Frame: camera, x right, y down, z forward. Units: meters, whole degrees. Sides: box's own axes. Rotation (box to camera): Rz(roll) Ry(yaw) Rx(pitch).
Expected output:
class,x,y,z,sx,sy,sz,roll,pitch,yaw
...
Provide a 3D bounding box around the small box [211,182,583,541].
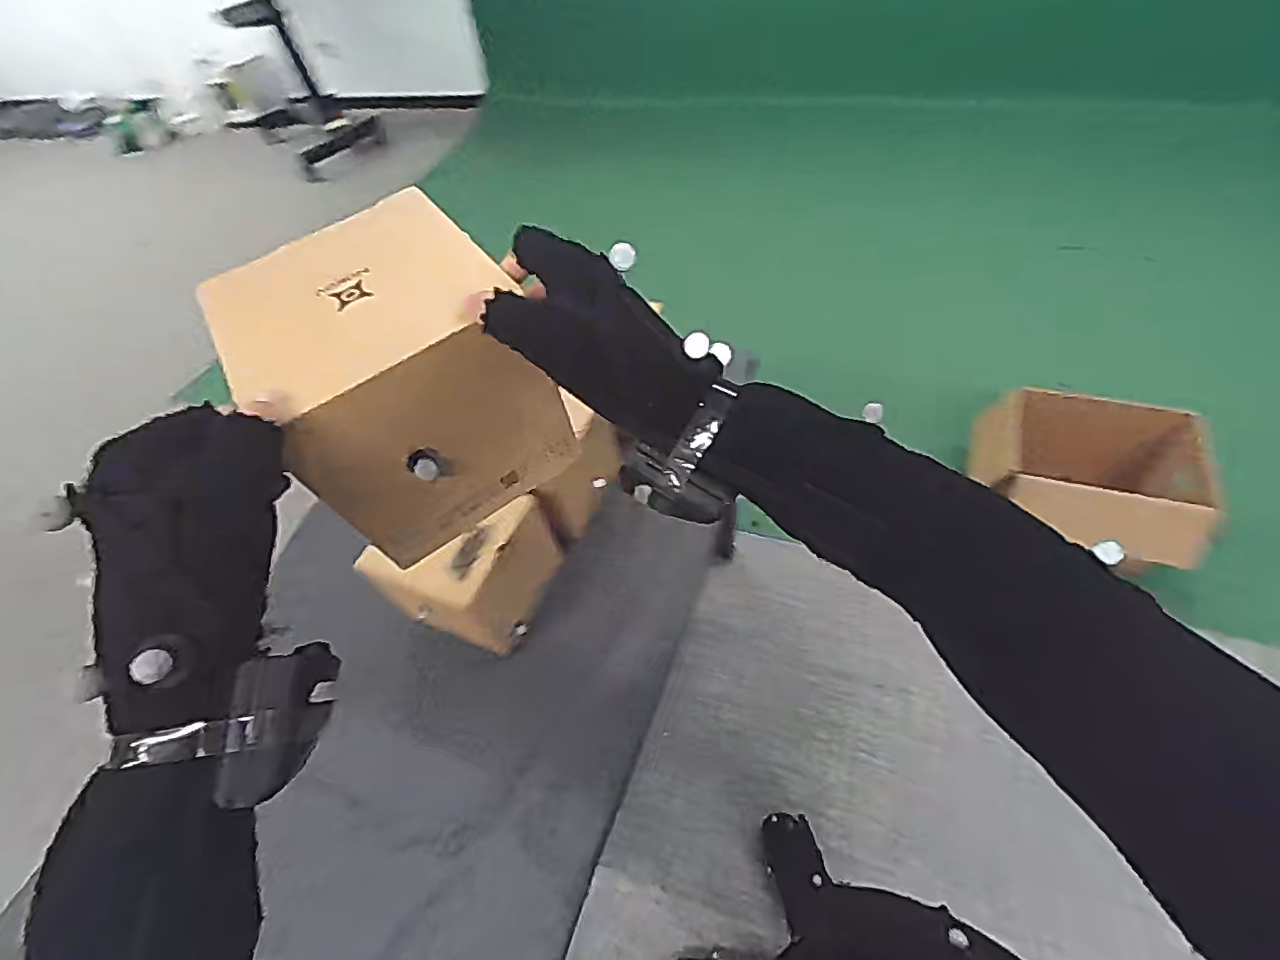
class,x,y,z,sx,sy,sz,roll,pitch,yaw
small box,-0.163,-0.077,0.403,0.168,0.176,0.179,-33,58,-14
